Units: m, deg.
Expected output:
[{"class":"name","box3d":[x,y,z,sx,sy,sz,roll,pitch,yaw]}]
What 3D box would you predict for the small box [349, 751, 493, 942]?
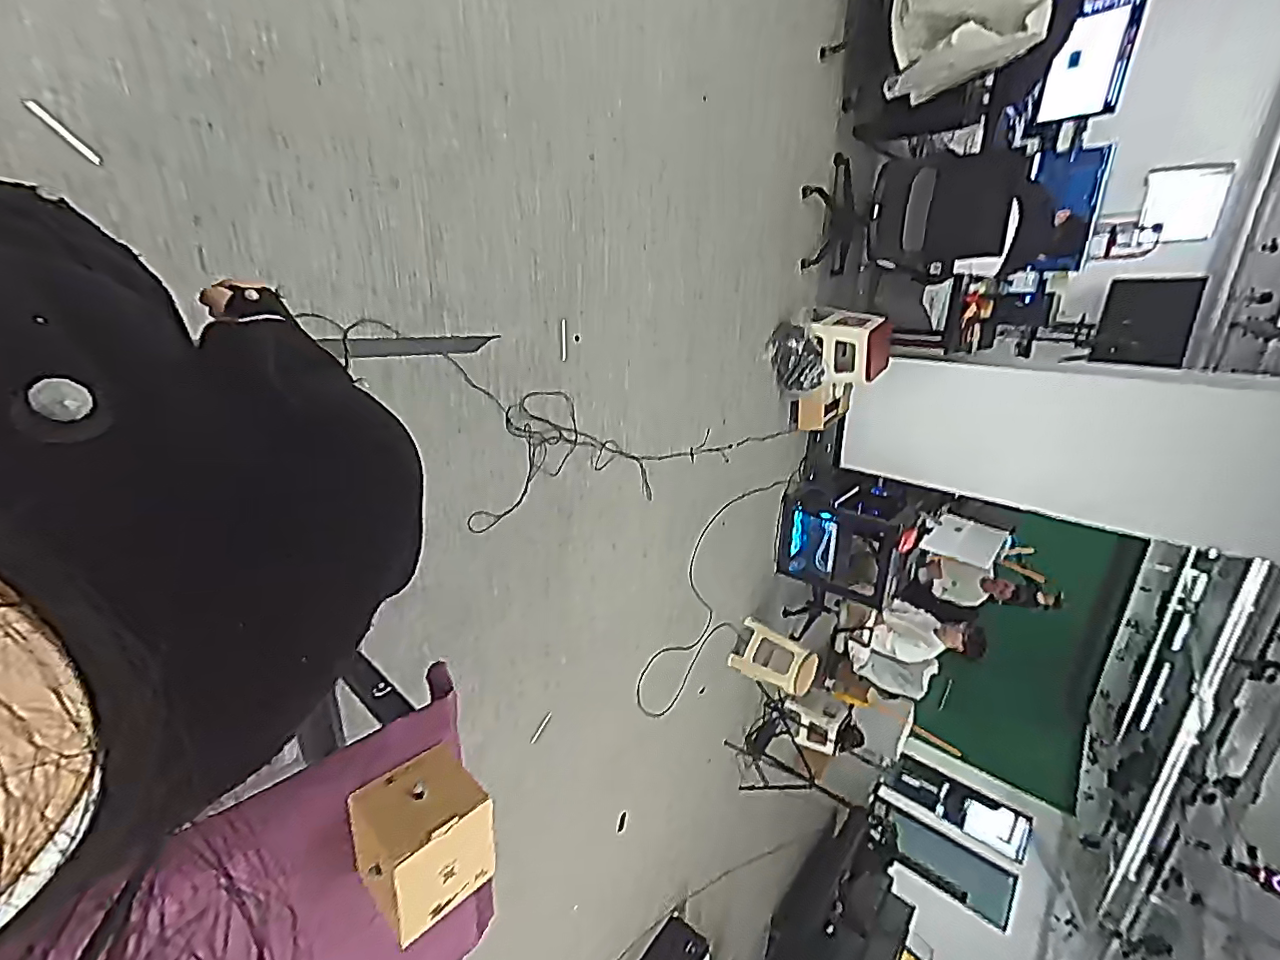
[{"class":"small box","box3d":[-0.366,0.591,0.906,0.168,0.176,0.179,-16,115,-46]}]
